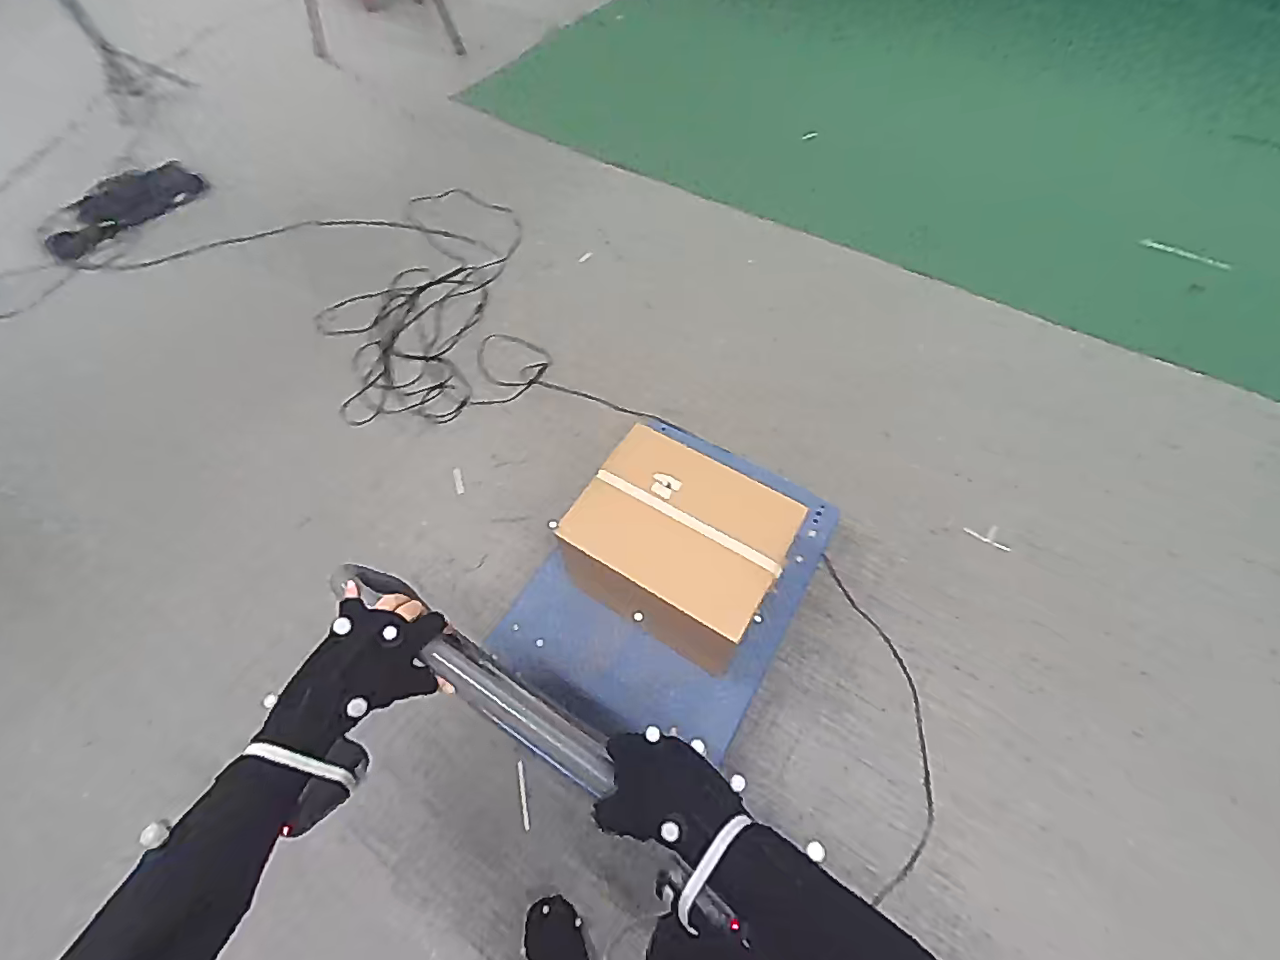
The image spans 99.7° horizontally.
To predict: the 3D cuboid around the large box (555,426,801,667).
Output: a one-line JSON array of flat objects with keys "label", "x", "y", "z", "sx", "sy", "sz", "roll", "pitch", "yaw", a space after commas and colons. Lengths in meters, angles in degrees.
[{"label": "large box", "x": 0.084, "y": 0.152, "z": 1.195, "sx": 0.408, "sy": 0.320, "sz": 0.320, "roll": 27, "pitch": 63, "yaw": 18}]
